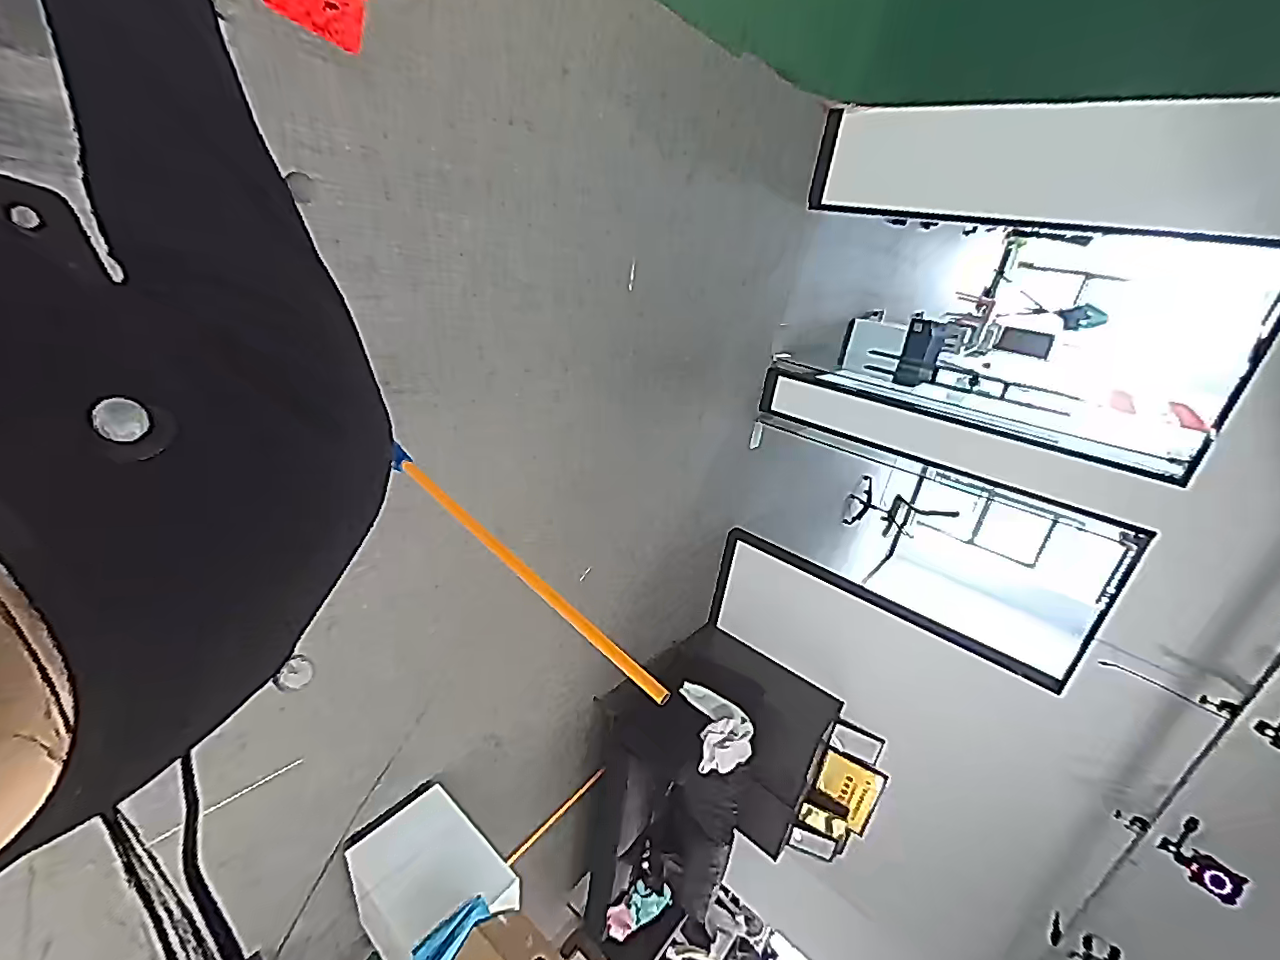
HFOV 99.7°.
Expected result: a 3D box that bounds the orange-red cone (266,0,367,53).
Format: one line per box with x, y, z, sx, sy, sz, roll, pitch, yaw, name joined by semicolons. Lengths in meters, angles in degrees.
-0.551;-0.990;1.043;0.198;0.360;0.199;-2;114;-53;orange-red cone
